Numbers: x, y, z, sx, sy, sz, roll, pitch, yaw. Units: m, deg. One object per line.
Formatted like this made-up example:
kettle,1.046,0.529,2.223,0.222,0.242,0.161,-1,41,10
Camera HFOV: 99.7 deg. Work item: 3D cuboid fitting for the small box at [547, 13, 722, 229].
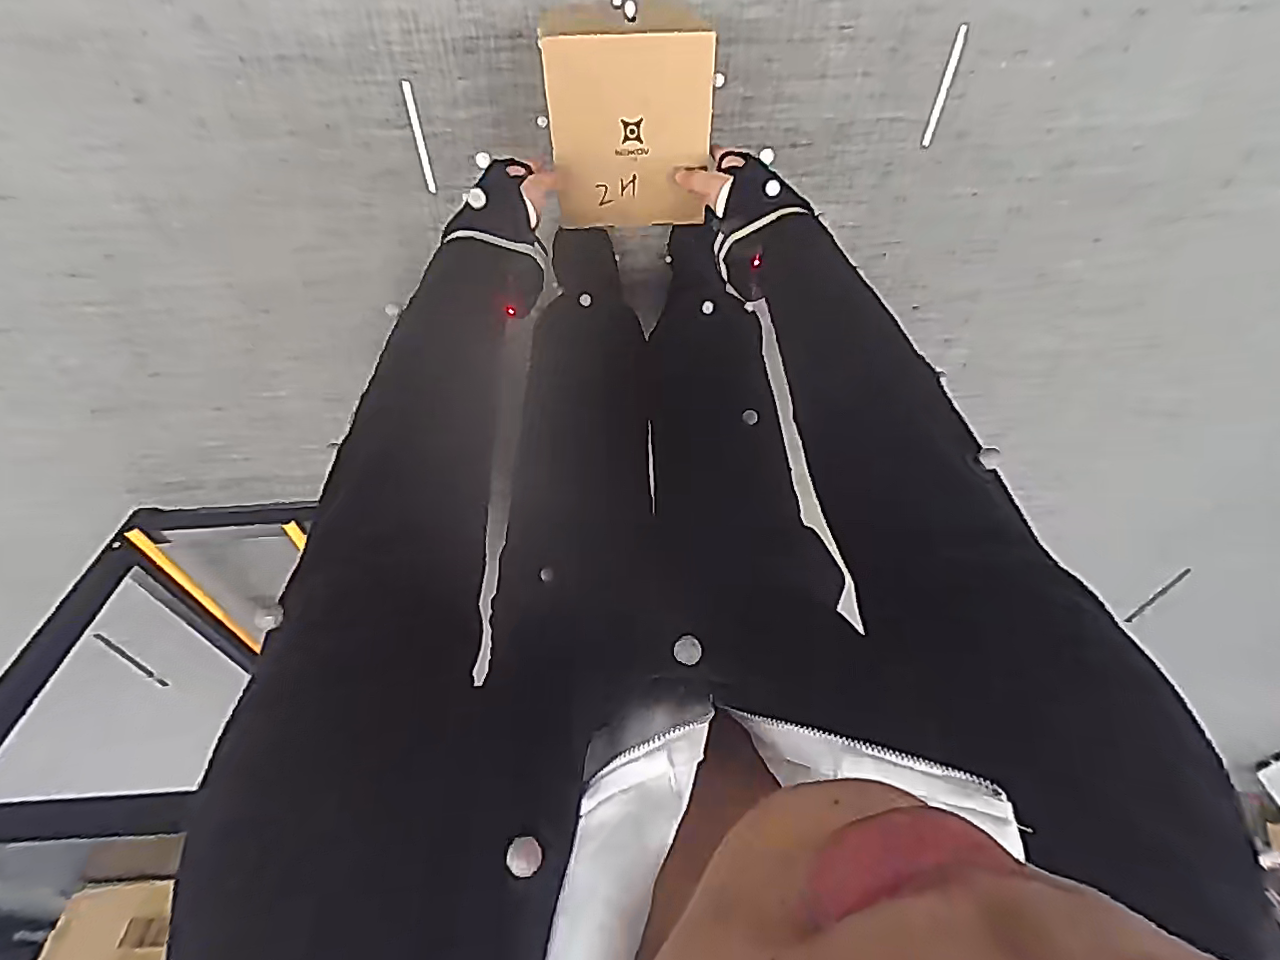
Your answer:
small box,-0.011,-0.404,0.607,0.168,0.176,0.179,-3,136,-2

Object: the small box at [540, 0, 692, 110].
small box,-0.026,-0.521,0.722,0.179,0.176,0.168,-6,136,0
